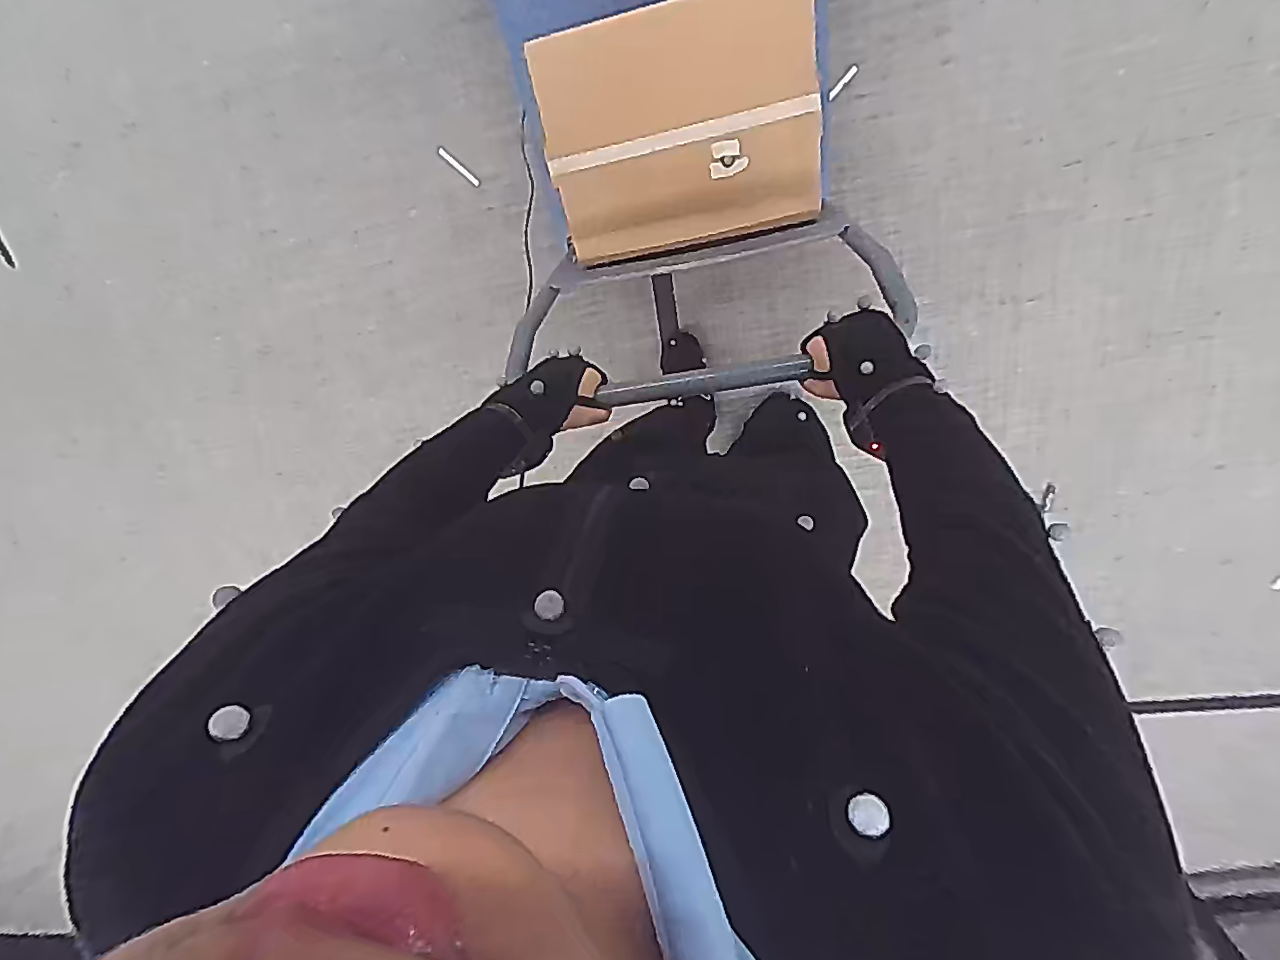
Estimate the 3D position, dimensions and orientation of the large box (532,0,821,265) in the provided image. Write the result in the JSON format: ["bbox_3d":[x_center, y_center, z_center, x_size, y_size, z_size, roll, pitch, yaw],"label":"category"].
[{"bbox_3d":[0.074,-0.608,0.954,0.408,0.320,0.320,-8,122,10],"label":"large box"}]
